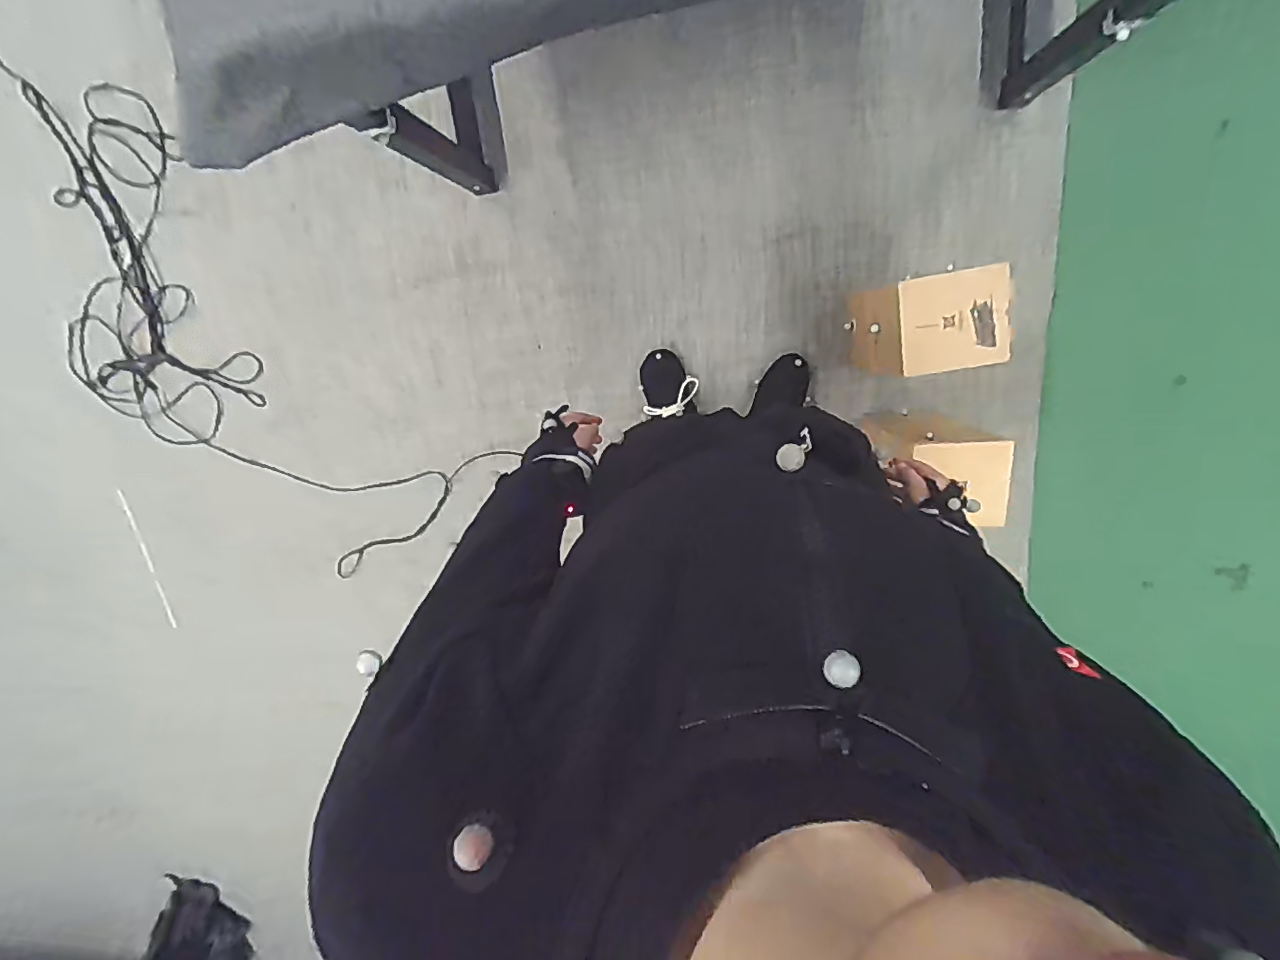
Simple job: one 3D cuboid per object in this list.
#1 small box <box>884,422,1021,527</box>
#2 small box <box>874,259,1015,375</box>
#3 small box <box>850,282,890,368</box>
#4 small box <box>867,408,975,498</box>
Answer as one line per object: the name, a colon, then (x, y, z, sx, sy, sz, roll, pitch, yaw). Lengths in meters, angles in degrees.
small box: (0.600, -0.016, 1.058, 0.179, 0.176, 0.168, -2, 106, 8)
small box: (0.545, -0.293, 0.984, 0.179, 0.176, 0.168, -8, 104, 10)
small box: (0.559, -0.336, 1.142, 0.179, 0.176, 0.168, -7, 105, 10)
small box: (0.619, -0.064, 1.213, 0.179, 0.176, 0.168, -3, 106, 10)
